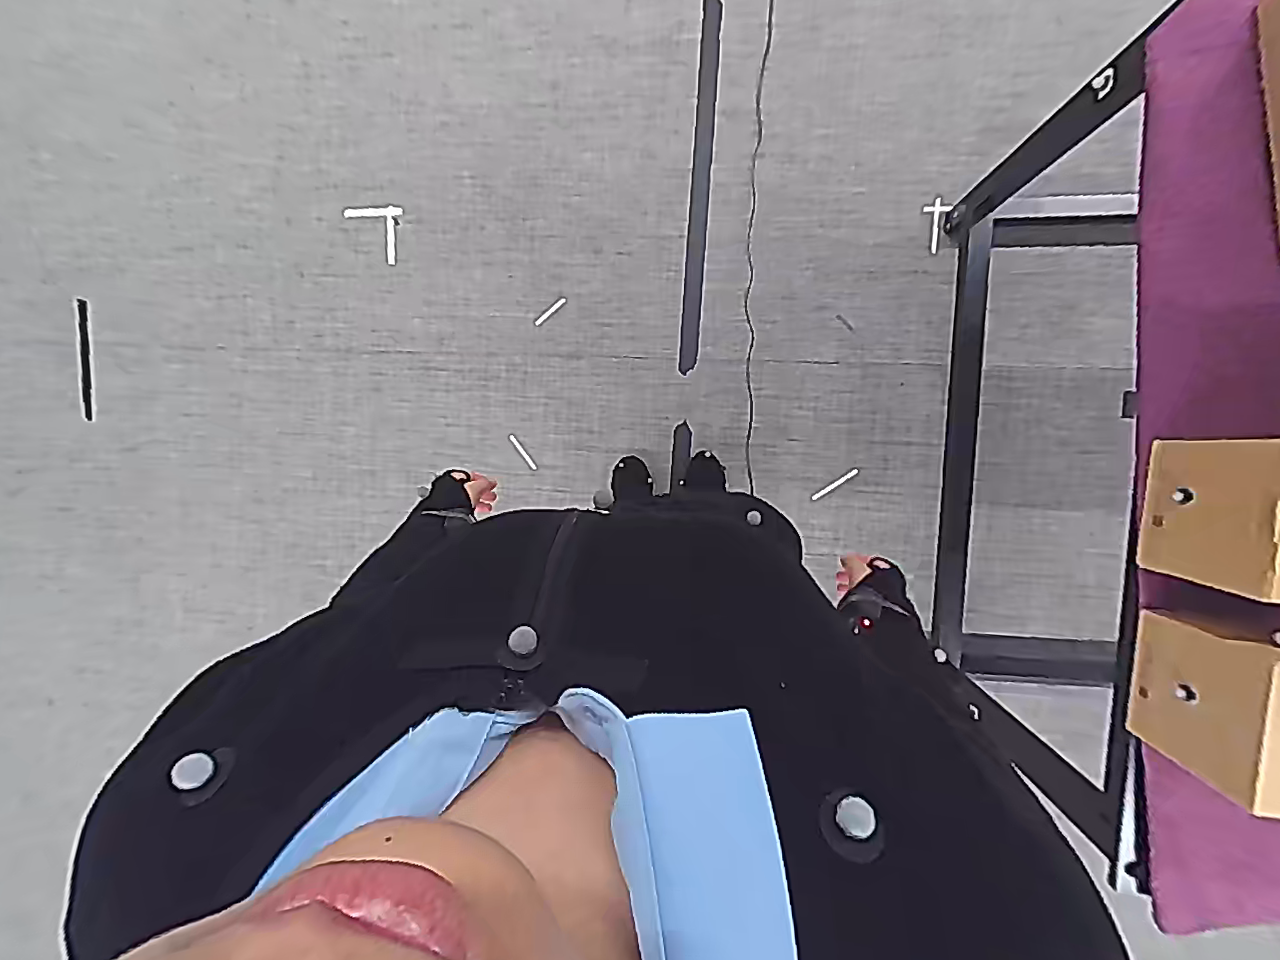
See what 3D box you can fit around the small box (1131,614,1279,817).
[{"bbox_3d":[0.719,0.260,0.615,0.179,0.176,0.168,4,95,5],"label":"small box"}]
